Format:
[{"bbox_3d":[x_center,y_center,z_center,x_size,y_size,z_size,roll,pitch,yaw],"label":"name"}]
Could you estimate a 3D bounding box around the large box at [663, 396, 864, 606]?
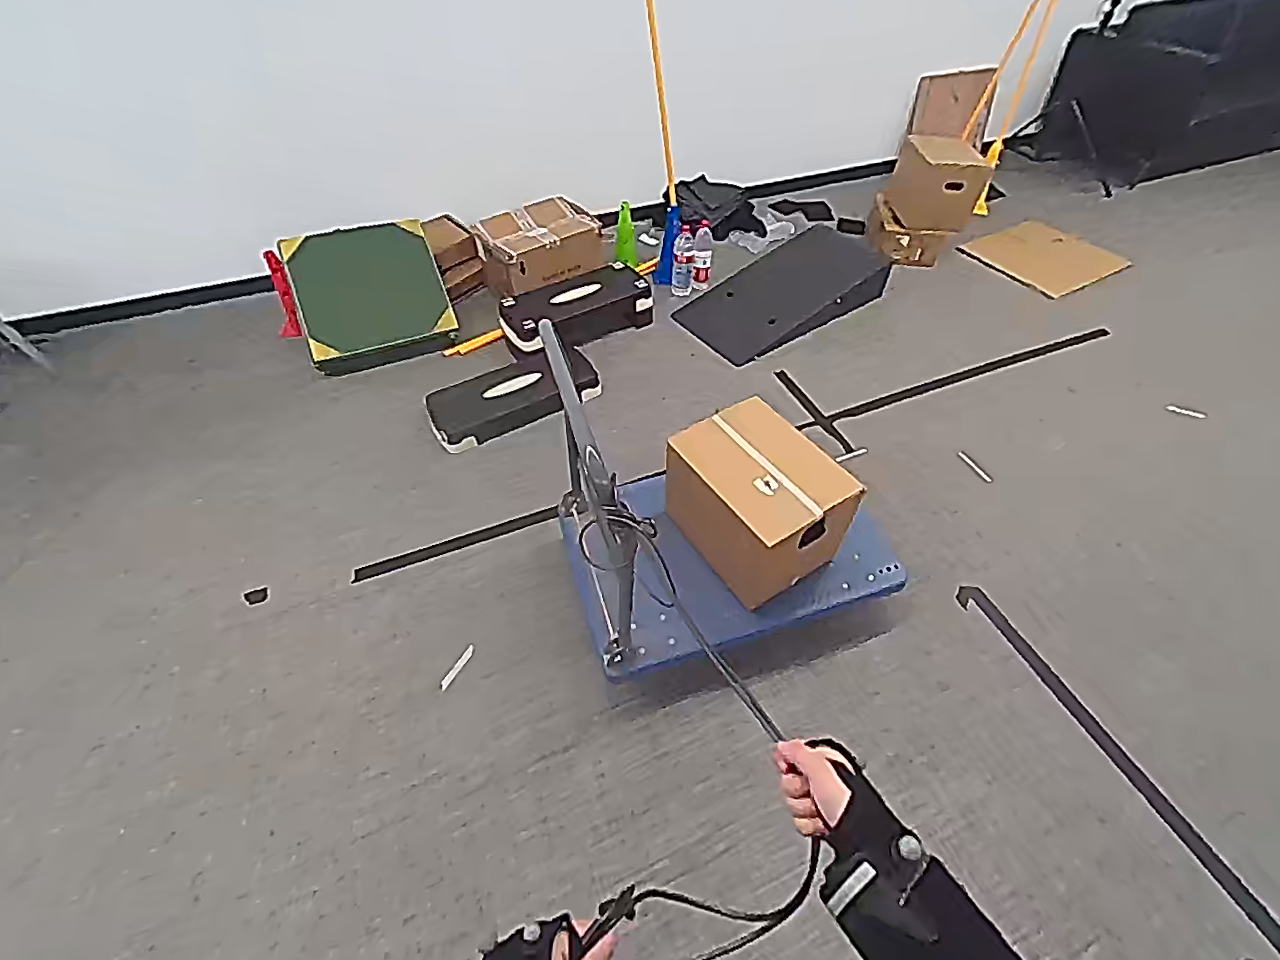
[{"bbox_3d":[0.300,0.050,1.454,0.320,0.320,0.408,-28,56,-20],"label":"large box"}]
